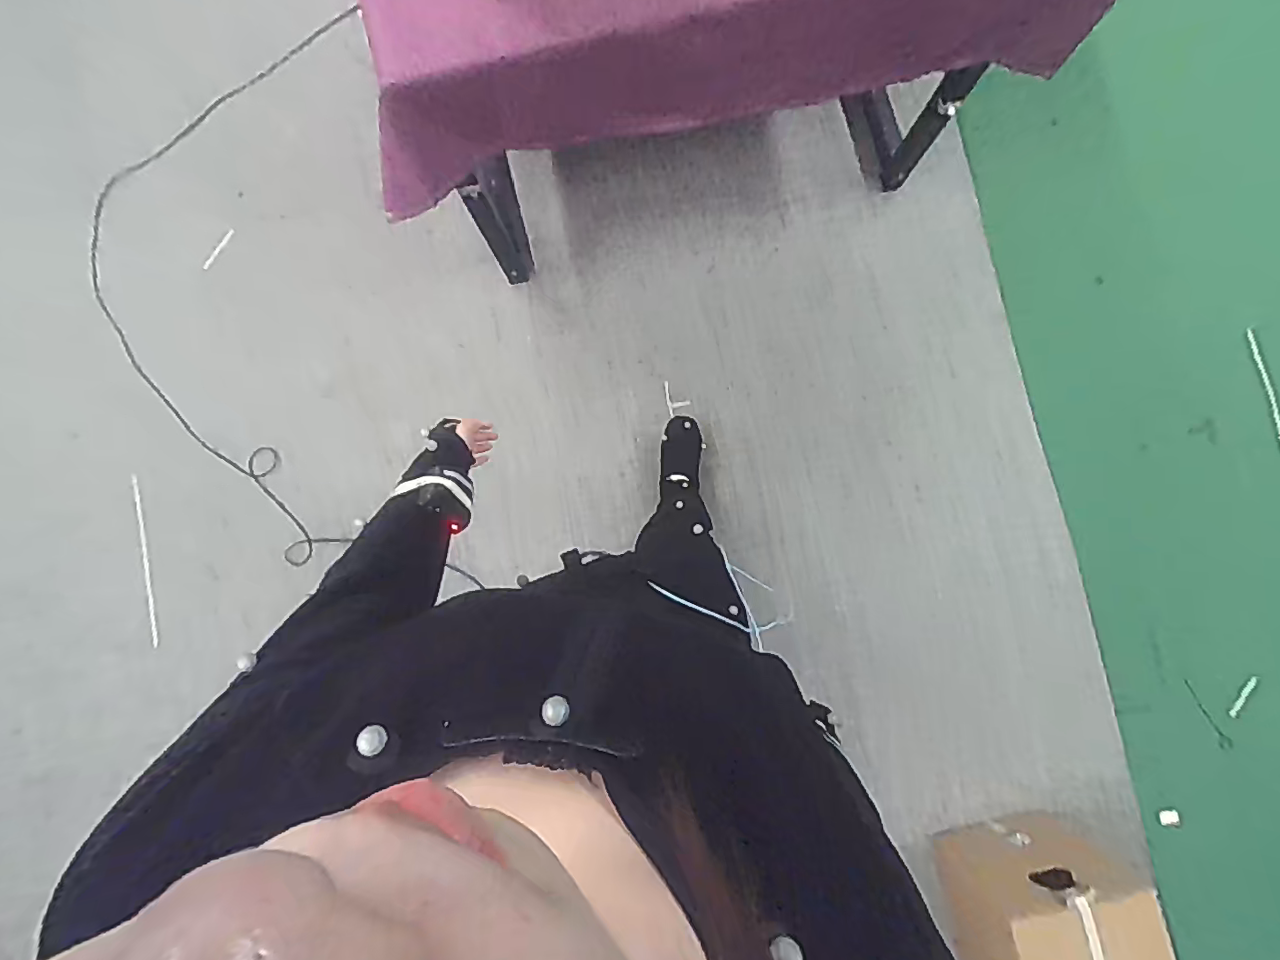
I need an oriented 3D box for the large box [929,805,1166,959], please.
[{"bbox_3d":[0.946,1.066,1.261,0.320,0.320,0.408,-12,86,-1],"label":"large box"}]
